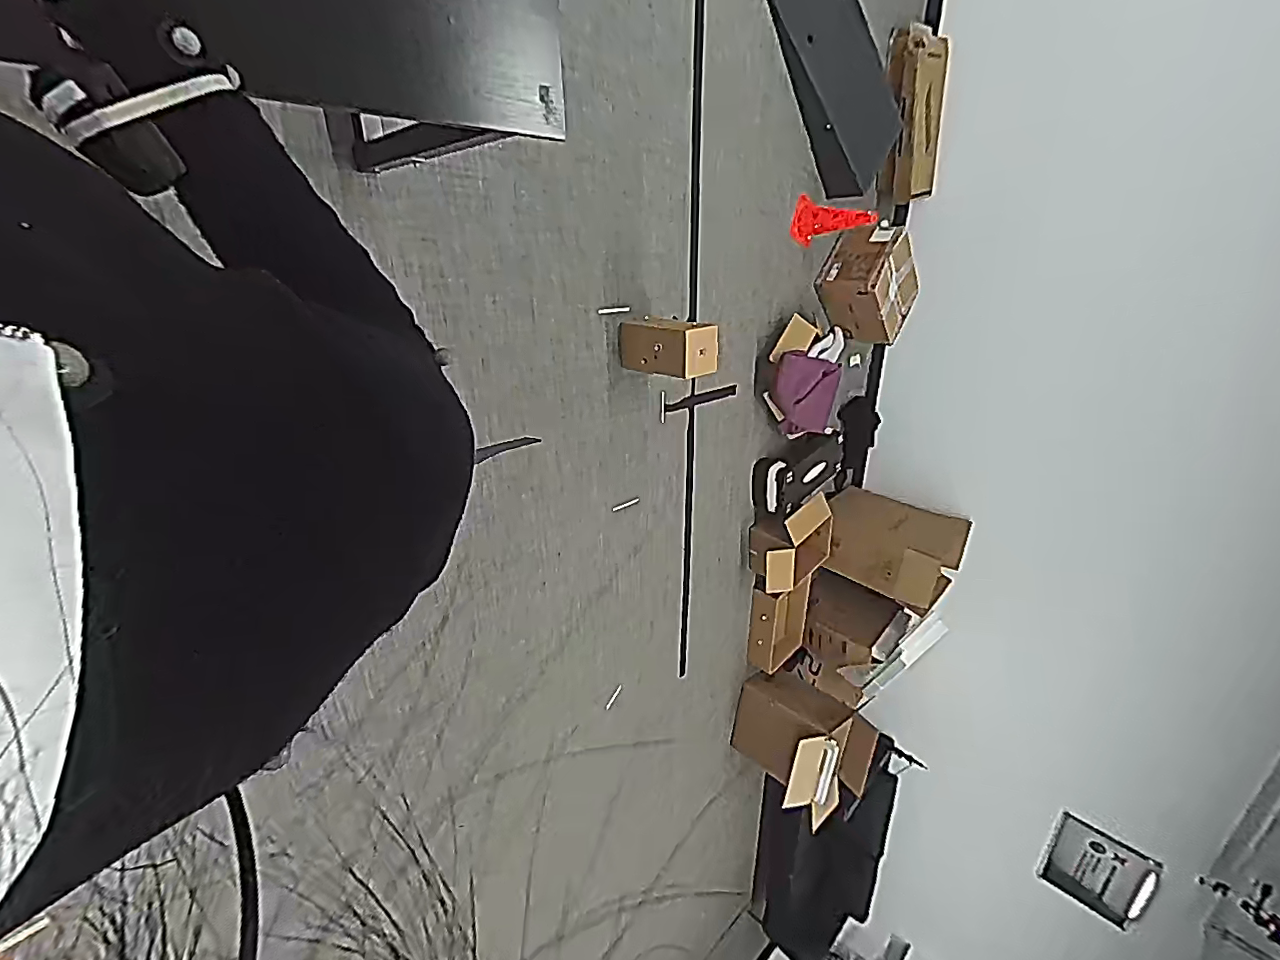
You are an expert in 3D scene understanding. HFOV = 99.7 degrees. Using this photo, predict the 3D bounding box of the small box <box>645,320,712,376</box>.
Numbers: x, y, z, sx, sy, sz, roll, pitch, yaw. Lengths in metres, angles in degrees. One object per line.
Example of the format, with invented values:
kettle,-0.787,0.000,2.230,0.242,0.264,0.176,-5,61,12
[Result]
small box,0.137,-0.474,1.922,0.179,0.176,0.168,-22,120,-39

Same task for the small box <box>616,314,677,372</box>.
small box,0.025,-0.519,2.031,0.168,0.176,0.179,-24,123,-40
